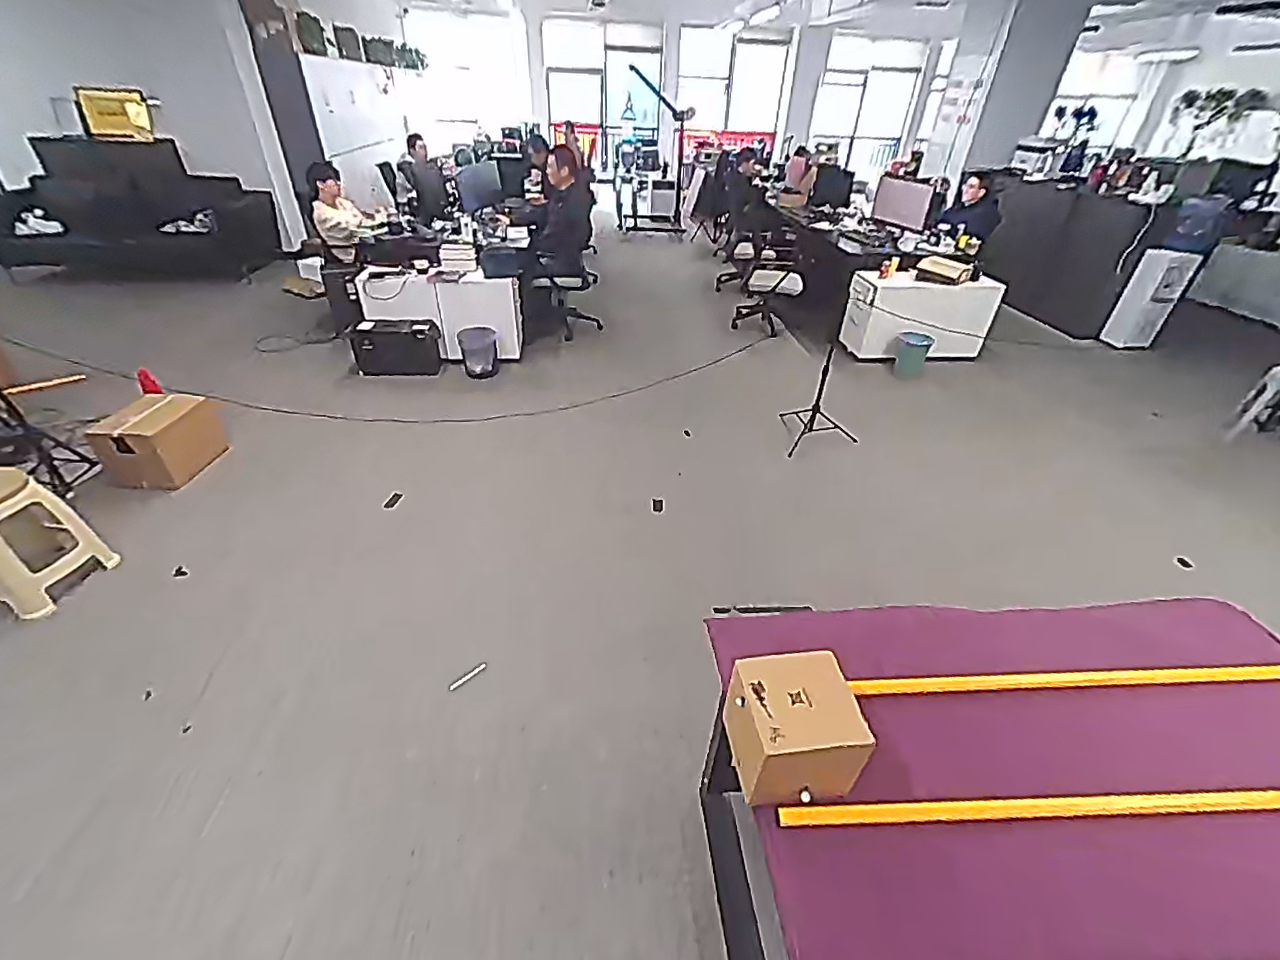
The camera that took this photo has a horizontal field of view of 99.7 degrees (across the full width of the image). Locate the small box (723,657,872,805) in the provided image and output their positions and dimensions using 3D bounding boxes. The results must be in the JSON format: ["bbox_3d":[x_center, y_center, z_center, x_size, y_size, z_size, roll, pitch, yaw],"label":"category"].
[{"bbox_3d":[0.253,0.424,0.917,0.179,0.176,0.168,-2,36,-7],"label":"small box"}]
